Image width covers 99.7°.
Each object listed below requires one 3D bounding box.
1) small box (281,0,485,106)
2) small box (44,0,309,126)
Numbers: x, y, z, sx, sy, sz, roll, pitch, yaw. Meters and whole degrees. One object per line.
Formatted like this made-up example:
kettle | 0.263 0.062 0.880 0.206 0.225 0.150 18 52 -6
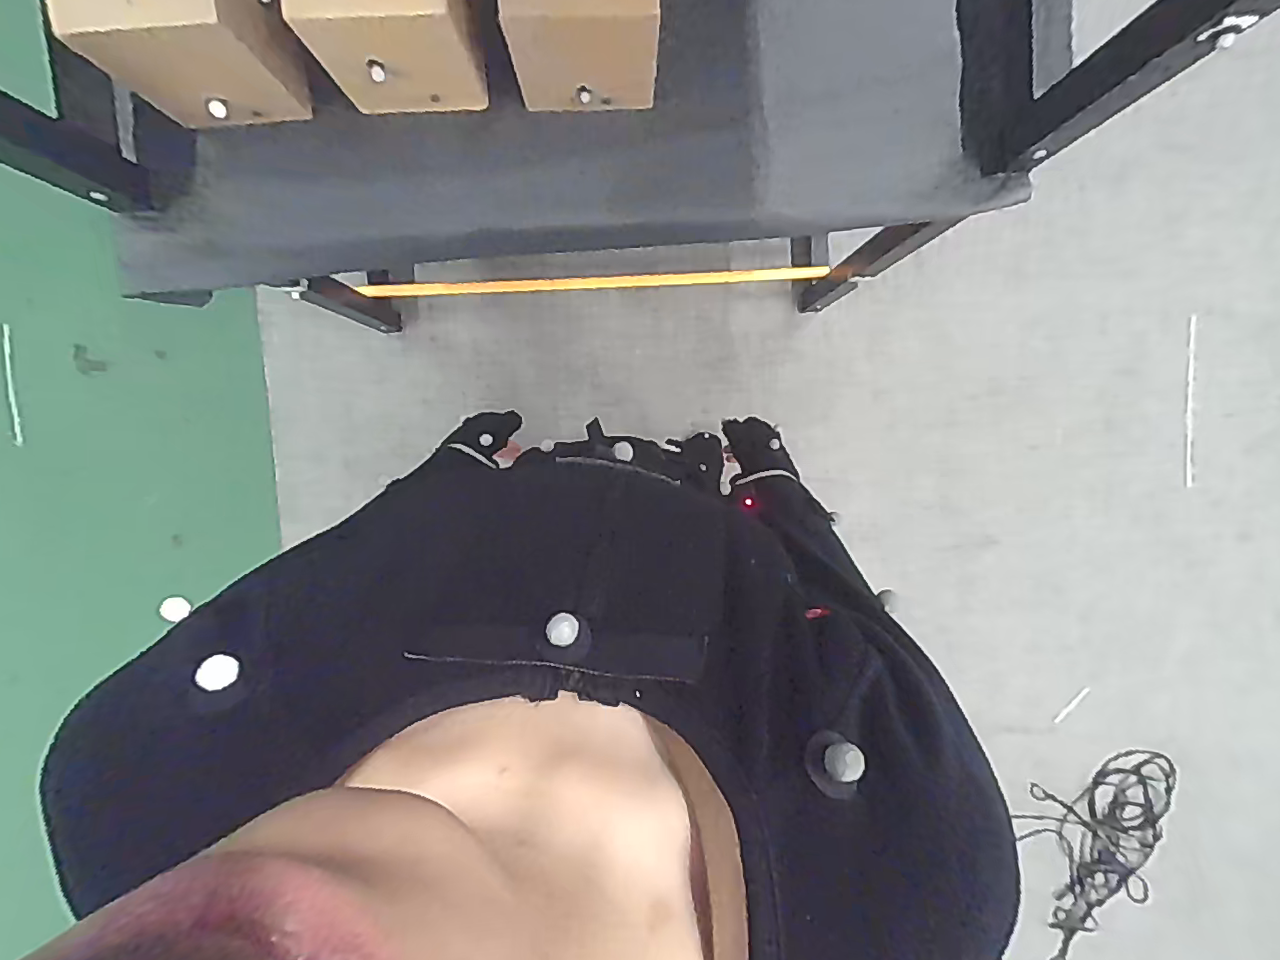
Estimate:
small box | -0.281 -0.557 0.613 0.168 0.176 0.179 -3 94 -2
small box | -0.507 -0.538 0.606 0.168 0.176 0.179 -5 95 -1
